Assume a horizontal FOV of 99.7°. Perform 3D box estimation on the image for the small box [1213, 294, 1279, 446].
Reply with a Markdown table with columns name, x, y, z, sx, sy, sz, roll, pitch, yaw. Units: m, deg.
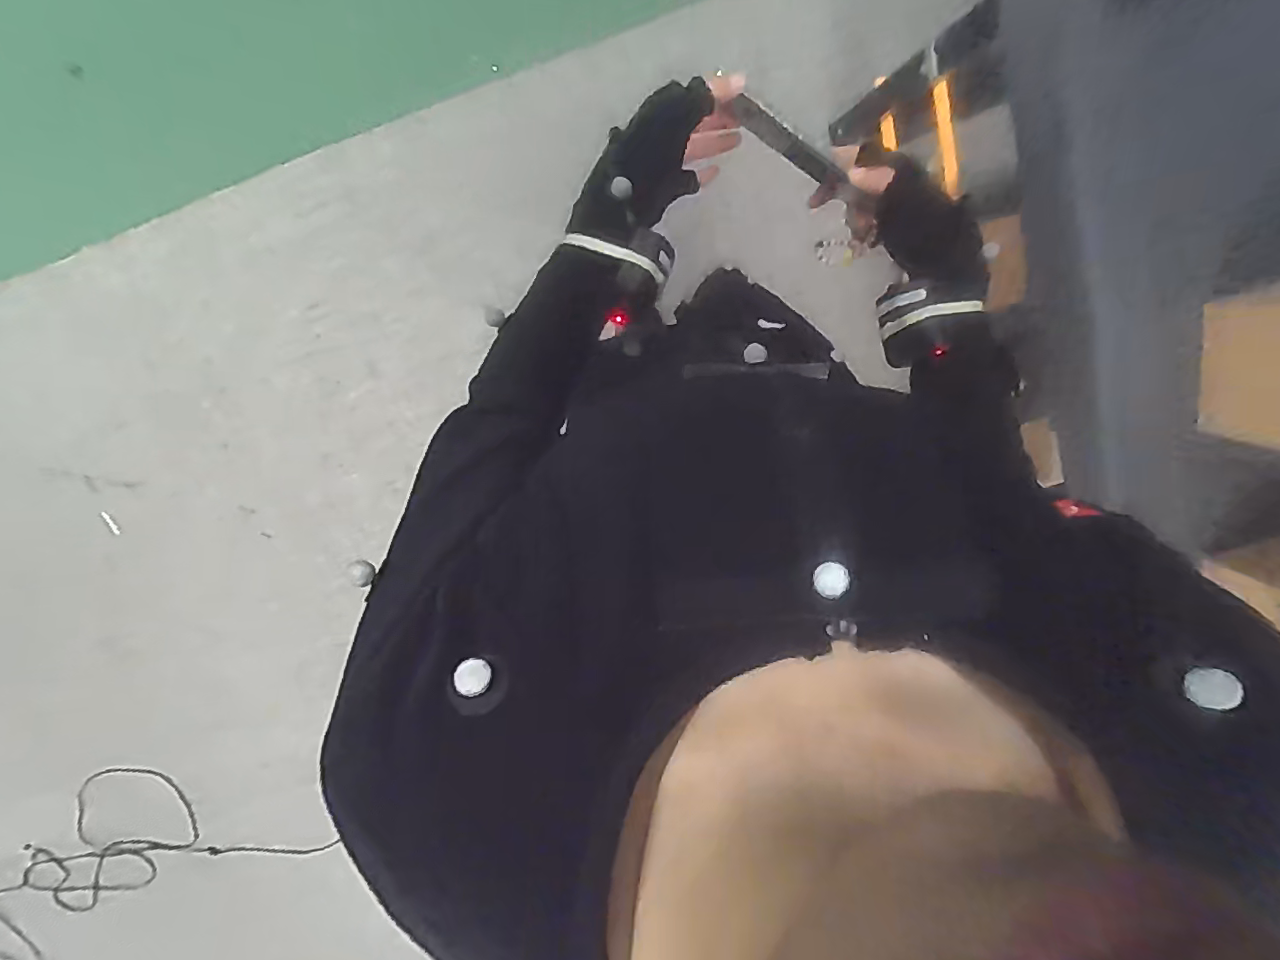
| name | x | y | z | sx | sy | sz | roll | pitch | yaw |
| --- | --- | --- | --- | --- | --- | --- | --- | --- | --- |
| small box | 0.823 | -0.134 | 0.619 | 0.168 | 0.176 | 0.179 | -16 | 108 | 4 |
